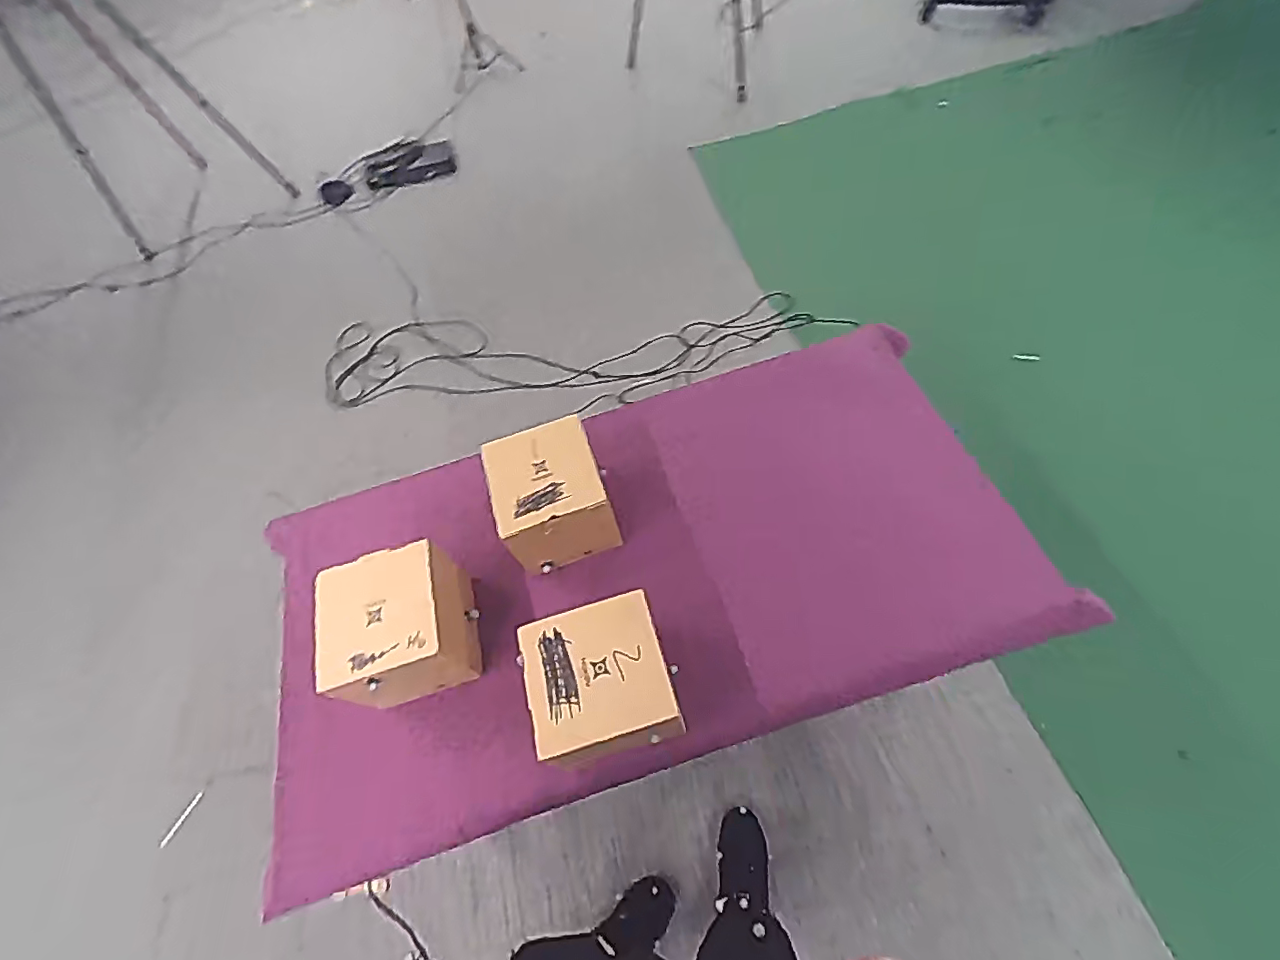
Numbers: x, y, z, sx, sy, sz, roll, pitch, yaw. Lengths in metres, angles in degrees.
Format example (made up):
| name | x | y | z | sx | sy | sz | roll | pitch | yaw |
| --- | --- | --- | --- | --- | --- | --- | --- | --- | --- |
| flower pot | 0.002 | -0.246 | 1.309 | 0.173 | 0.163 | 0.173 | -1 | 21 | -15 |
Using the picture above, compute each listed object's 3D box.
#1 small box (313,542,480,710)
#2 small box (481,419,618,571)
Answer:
| name | x | y | z | sx | sy | sz | roll | pitch | yaw |
| --- | --- | --- | --- | --- | --- | --- | --- | --- | --- |
| small box | -0.356 | 0.223 | 0.812 | 0.168 | 0.176 | 0.179 | -18 | 59 | -2 |
| small box | -0.144 | 0.035 | 0.898 | 0.168 | 0.176 | 0.179 | -19 | 59 | -4 |
